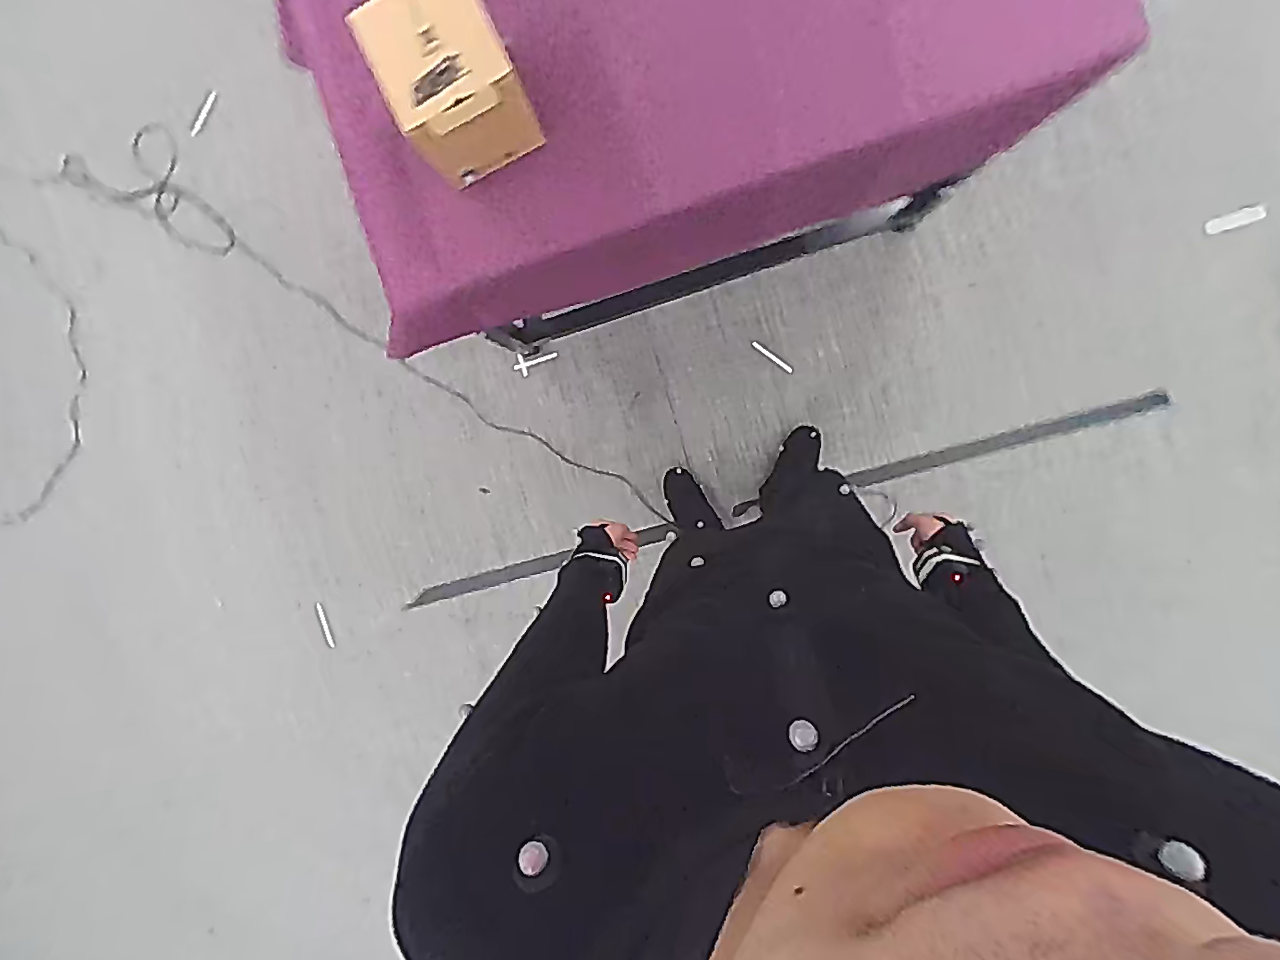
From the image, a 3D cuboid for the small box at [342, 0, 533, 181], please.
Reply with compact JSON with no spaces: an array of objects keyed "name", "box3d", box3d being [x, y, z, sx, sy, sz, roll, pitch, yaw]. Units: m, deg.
[{"name":"small box","box3d":[-0.277,-0.571,0.785,0.168,0.176,0.179,-26,91,5]}]
